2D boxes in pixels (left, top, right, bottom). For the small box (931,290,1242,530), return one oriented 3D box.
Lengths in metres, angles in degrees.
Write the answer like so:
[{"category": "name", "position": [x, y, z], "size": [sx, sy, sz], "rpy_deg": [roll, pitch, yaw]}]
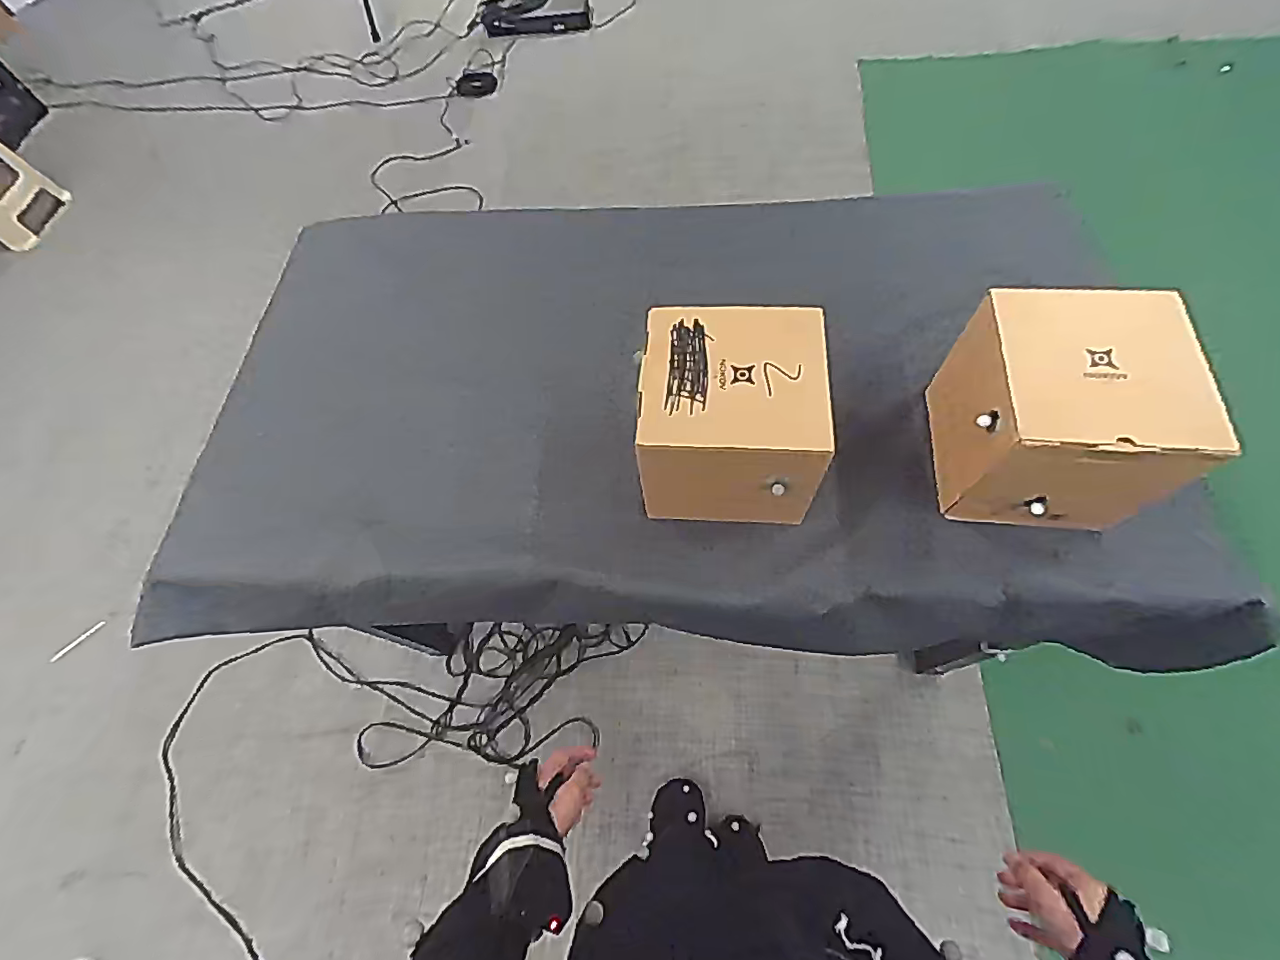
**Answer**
[{"category": "small box", "position": [0.418, -0.066, 0.549], "size": [0.168, 0.176, 0.179], "rpy_deg": [4, 64, 8]}]
